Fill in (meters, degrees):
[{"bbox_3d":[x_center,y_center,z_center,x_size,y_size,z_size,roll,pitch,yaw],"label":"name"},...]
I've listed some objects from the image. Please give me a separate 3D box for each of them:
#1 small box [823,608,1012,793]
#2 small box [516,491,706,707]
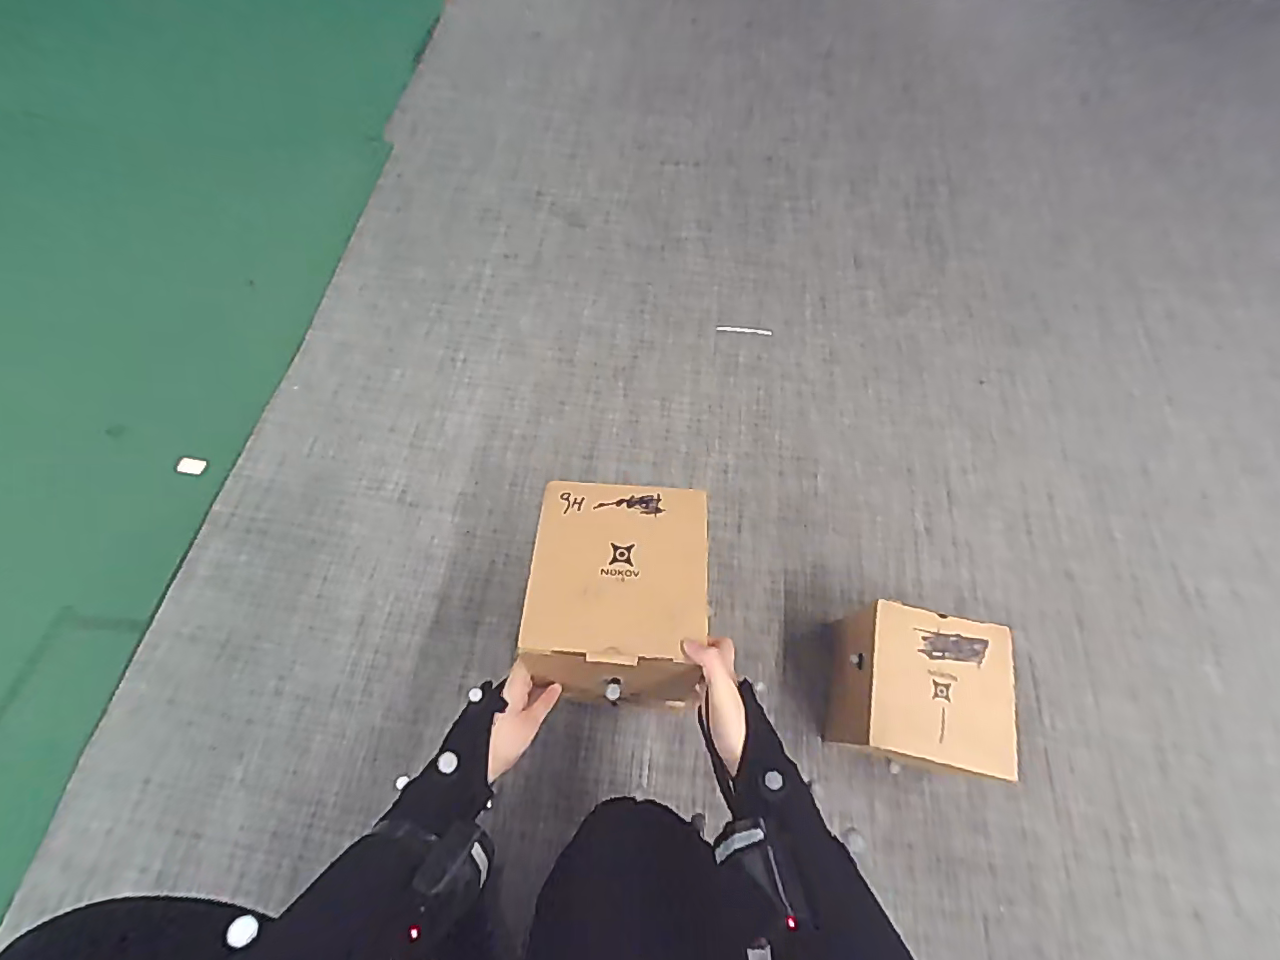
[{"bbox_3d":[0.353,0.289,0.715,0.168,0.176,0.179,12,65,6],"label":"small box"},{"bbox_3d":[-0.022,0.133,0.573,0.168,0.176,0.179,4,58,0],"label":"small box"}]
